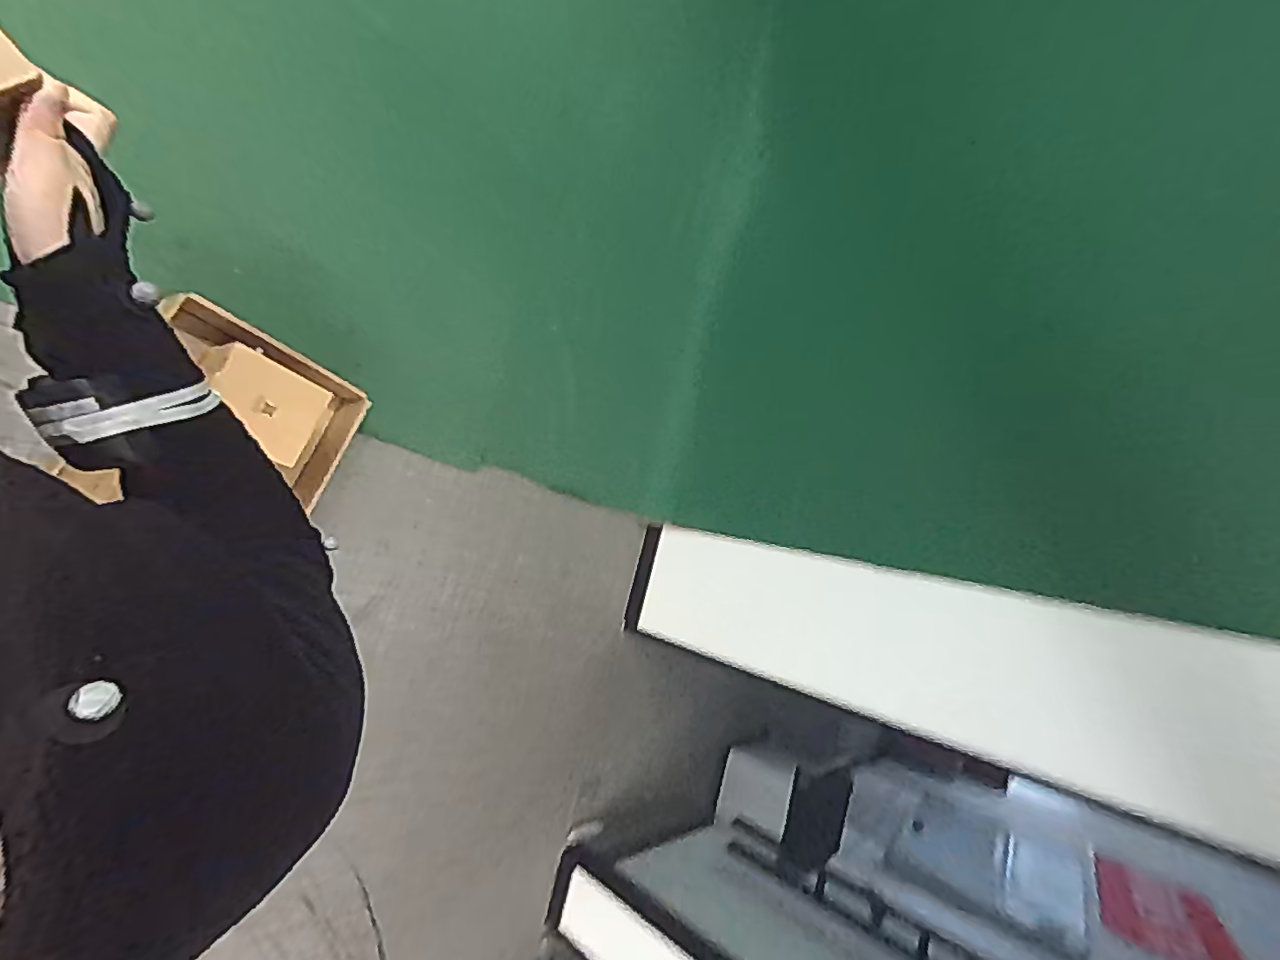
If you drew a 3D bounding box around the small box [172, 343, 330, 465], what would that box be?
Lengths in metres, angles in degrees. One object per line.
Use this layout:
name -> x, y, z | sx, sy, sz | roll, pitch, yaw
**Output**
small box -> -0.745, -0.145, 1.037 | 0.179, 0.176, 0.168 | 36, 70, -45
